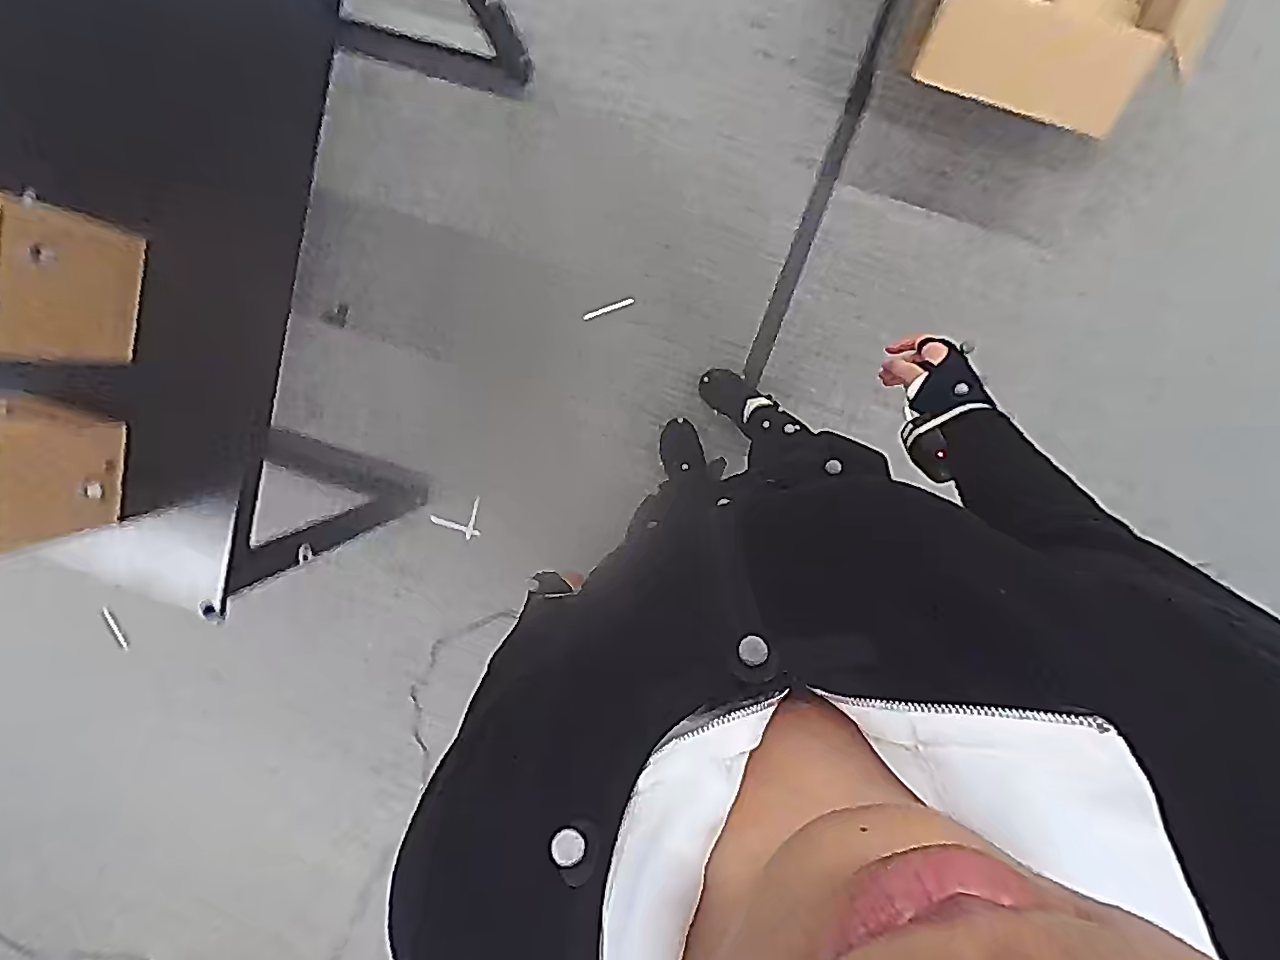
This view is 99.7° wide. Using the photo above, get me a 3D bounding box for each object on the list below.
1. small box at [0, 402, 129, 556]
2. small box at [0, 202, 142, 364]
[{"bbox_3d":[-0.878,-0.008,0.750,0.179,0.176,0.168,16,101,1],"label":"small box"},{"bbox_3d":[-0.802,-0.258,0.697,0.168,0.176,0.179,18,101,2],"label":"small box"}]
